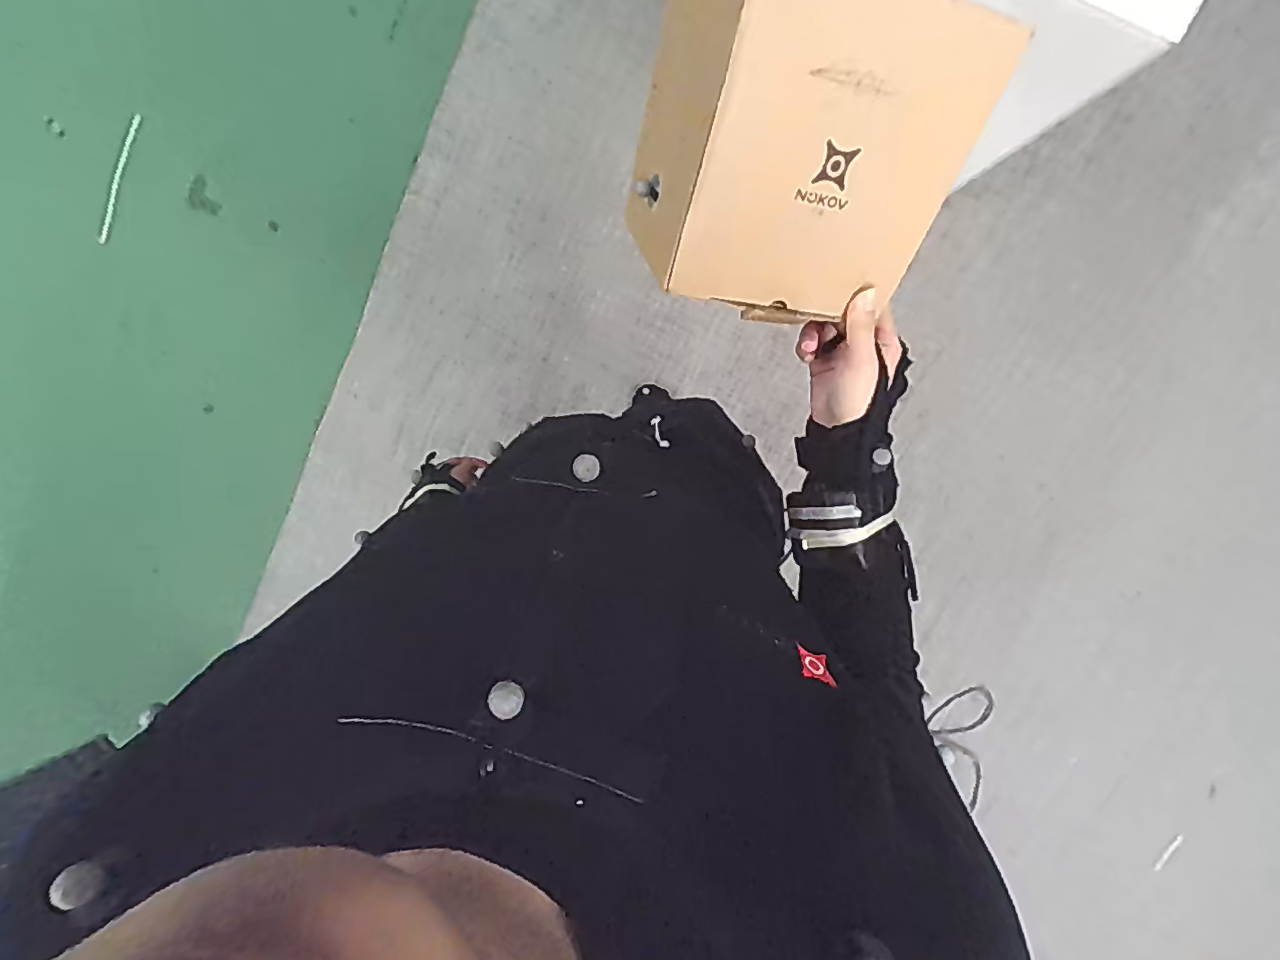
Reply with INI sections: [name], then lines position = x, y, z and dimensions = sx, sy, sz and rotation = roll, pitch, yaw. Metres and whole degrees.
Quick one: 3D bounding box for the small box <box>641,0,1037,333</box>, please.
[small box]
position = 0.105, -0.230, 0.379
dimensions = 0.168, 0.176, 0.179
rotation = 3, 130, -17
